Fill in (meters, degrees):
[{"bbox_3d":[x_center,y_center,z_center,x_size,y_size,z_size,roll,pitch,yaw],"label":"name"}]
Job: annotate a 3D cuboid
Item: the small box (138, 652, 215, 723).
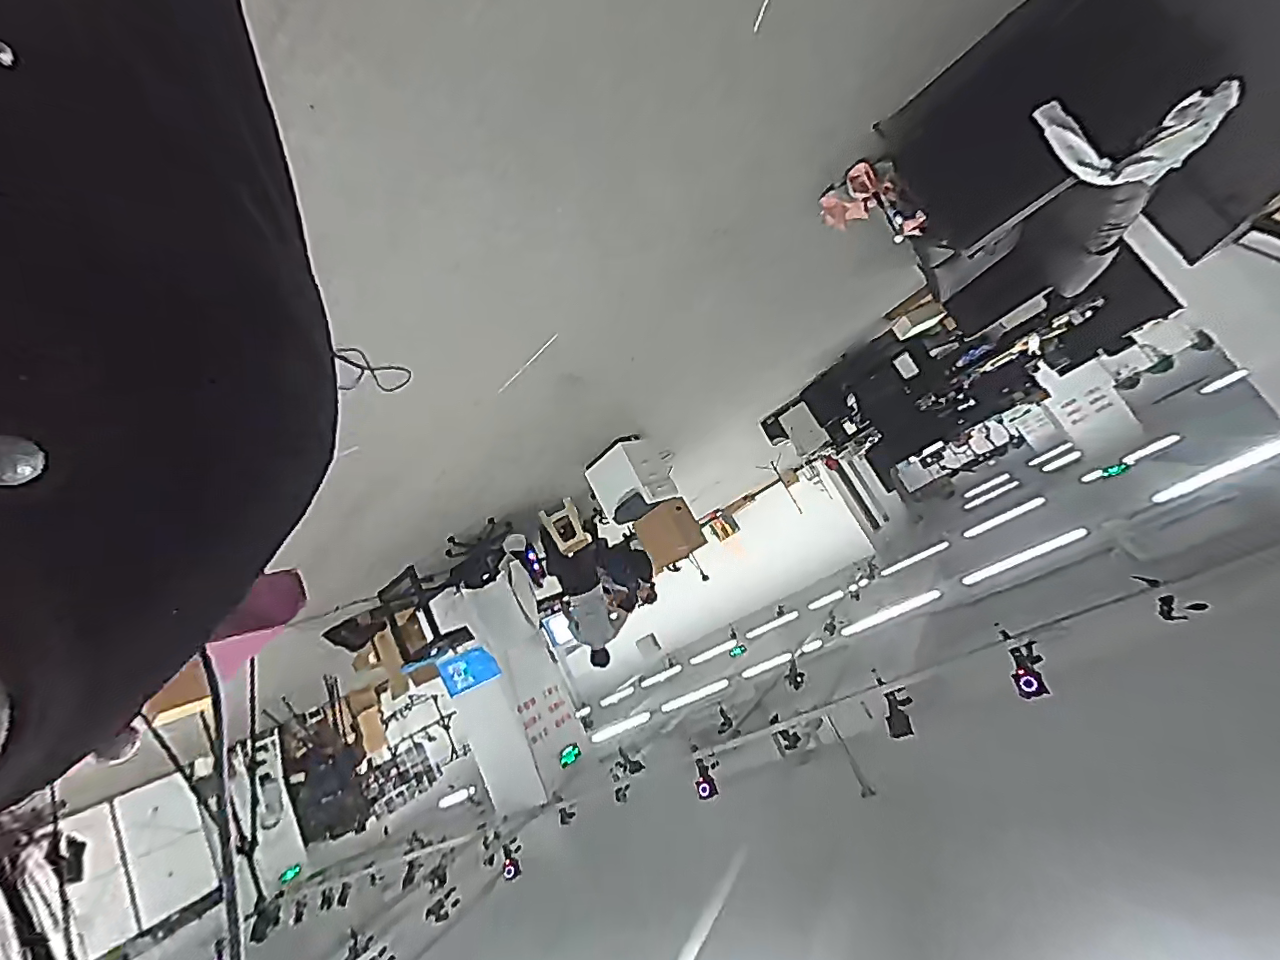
[{"bbox_3d":[-1.658,0.733,1.931,0.179,0.176,0.168,-36,164,34],"label":"small box"}]
